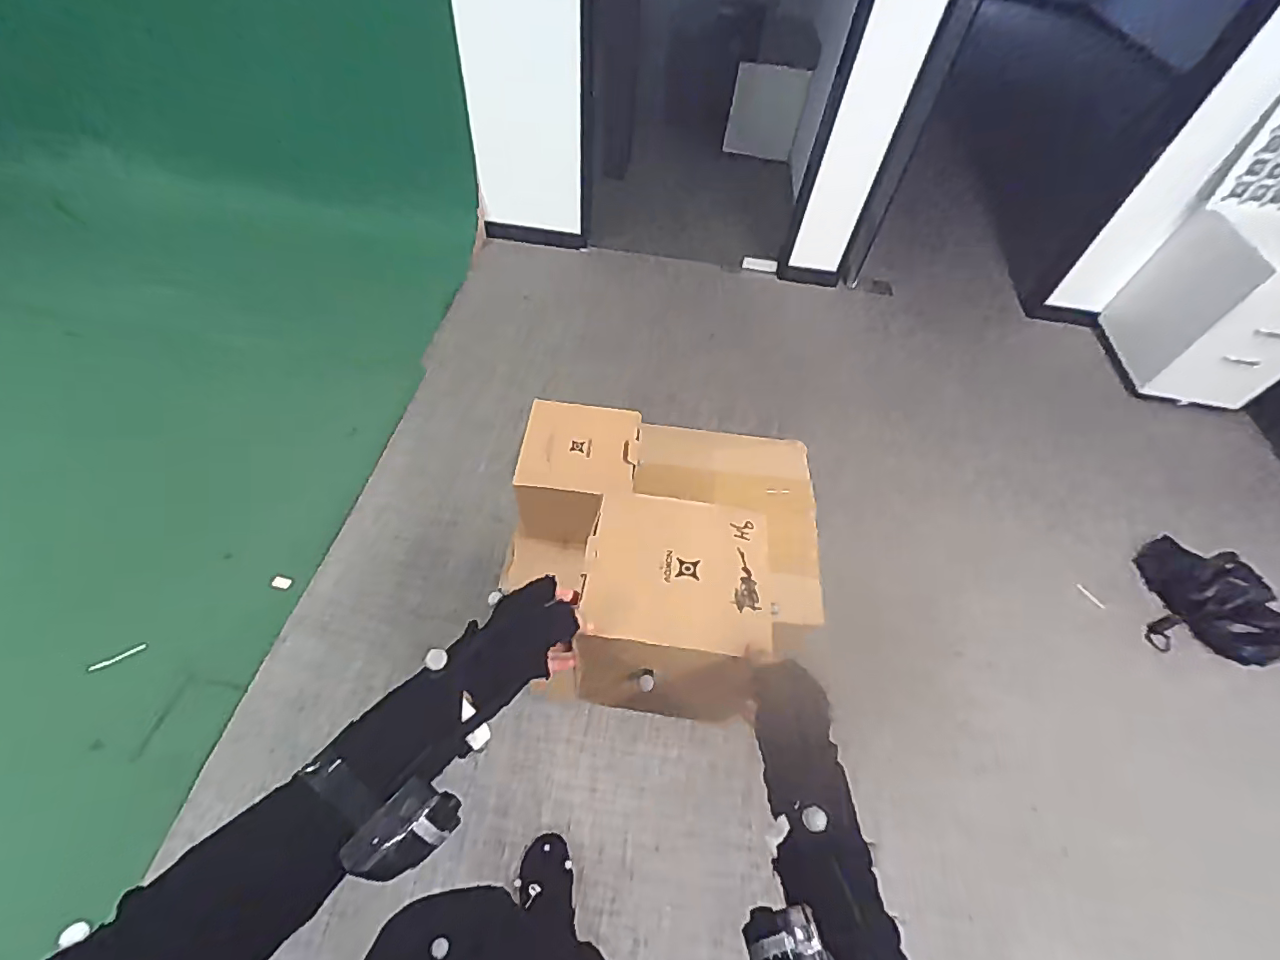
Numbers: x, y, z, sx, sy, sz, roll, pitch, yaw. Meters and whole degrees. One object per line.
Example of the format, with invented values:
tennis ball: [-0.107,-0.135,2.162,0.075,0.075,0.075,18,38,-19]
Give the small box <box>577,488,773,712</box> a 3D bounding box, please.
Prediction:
small box: [0.036,0.132,0.582,0.179,0.176,0.168,8,48,2]

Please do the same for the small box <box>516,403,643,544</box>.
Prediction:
small box: [-0.093,-0.004,0.896,0.179,0.176,0.168,6,56,0]
